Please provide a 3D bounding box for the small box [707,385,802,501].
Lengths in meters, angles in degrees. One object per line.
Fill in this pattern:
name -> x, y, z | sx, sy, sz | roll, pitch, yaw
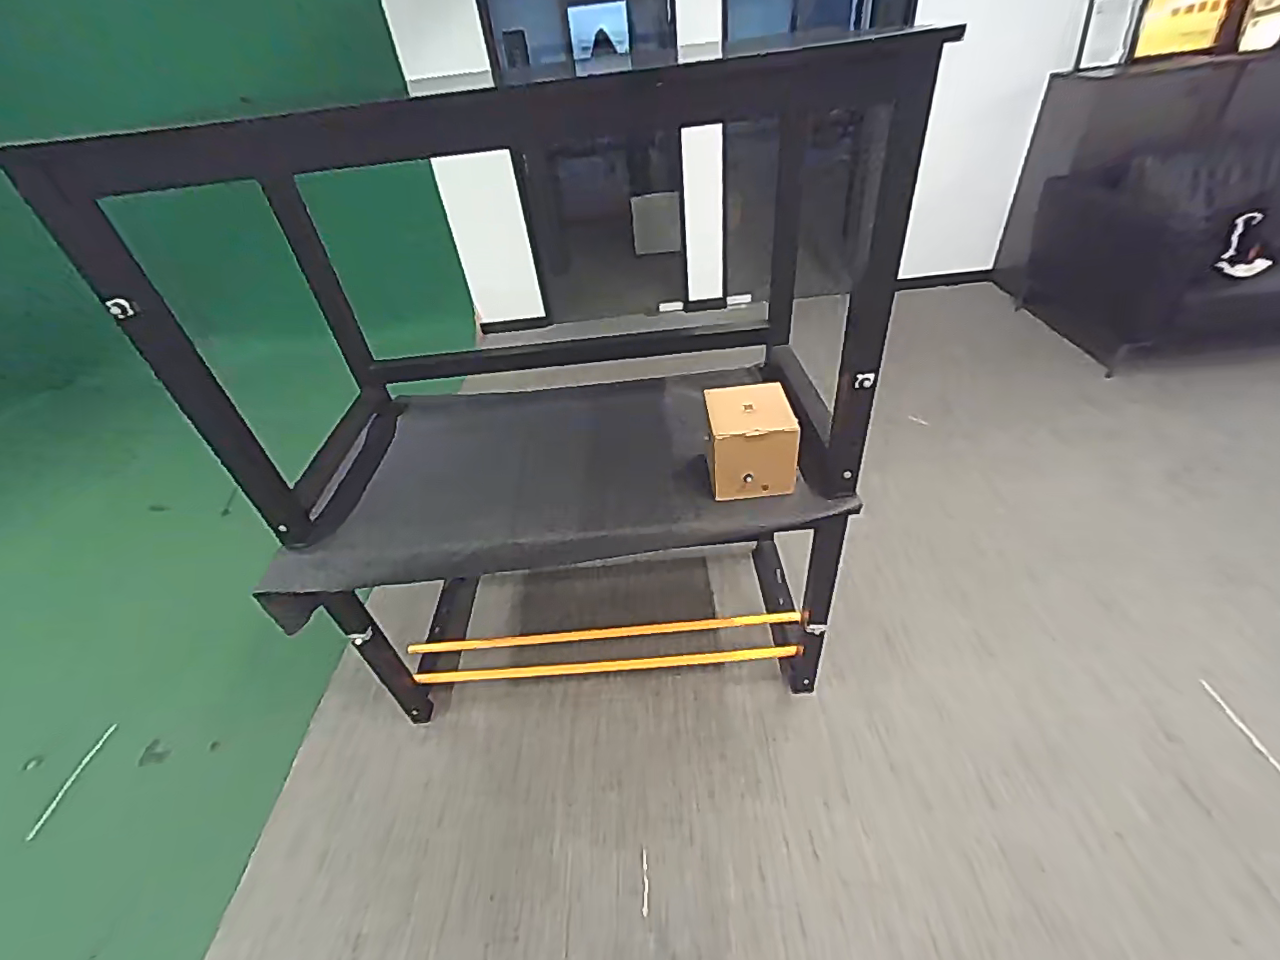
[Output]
small box -> 0.232, -0.078, 1.136 | 0.168, 0.176, 0.179 | -6, 39, 3
